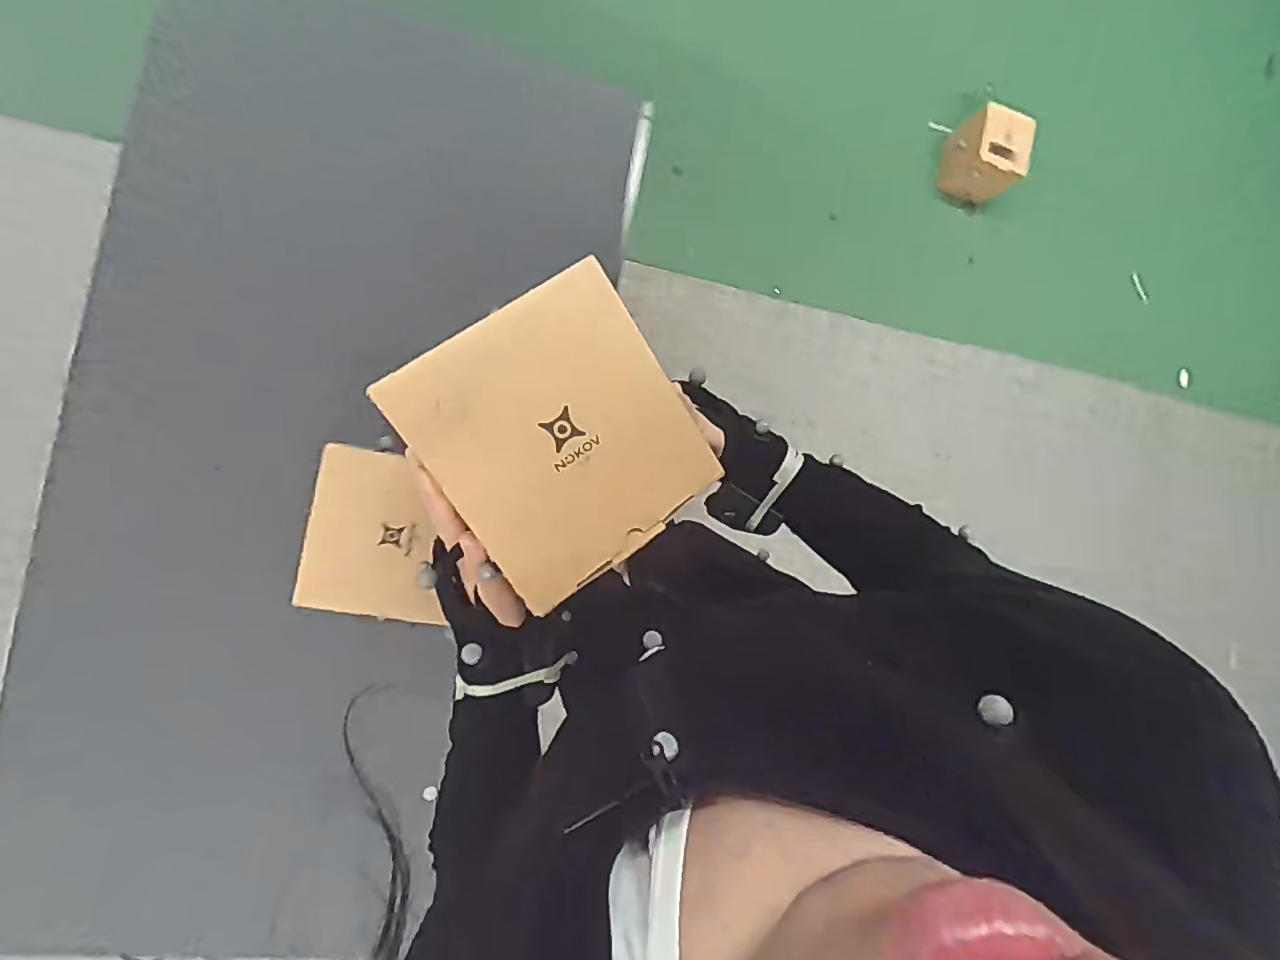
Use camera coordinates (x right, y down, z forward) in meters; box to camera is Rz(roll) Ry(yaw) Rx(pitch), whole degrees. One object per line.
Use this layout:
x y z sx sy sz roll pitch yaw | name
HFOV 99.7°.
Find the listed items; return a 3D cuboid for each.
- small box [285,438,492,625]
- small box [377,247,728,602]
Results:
-0.262 0.054 0.622 0.179 0.176 0.168 11 89 -11 | small box
-0.071 -0.038 0.418 0.168 0.176 0.179 -36 103 -15 | small box
